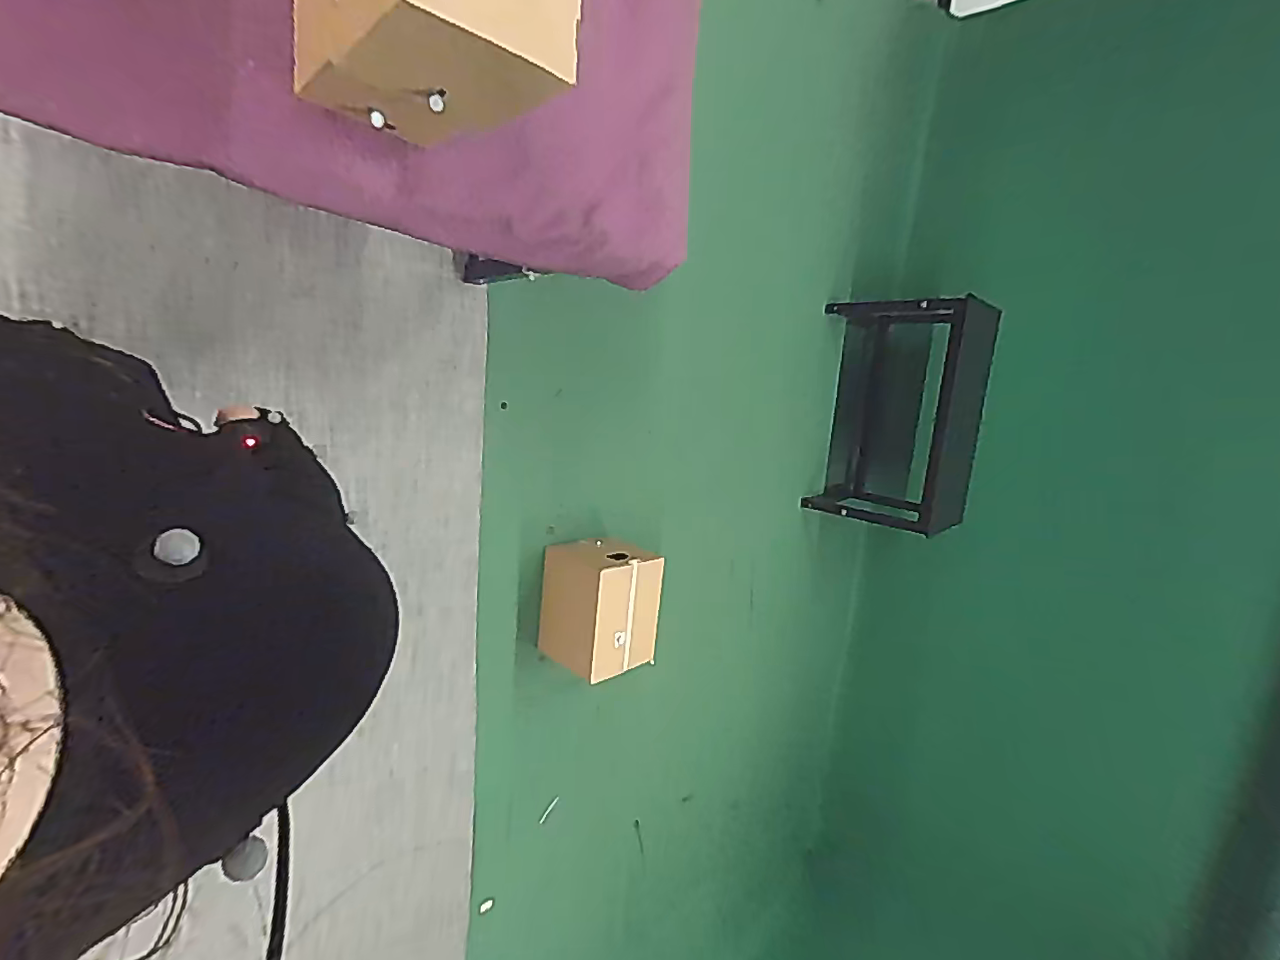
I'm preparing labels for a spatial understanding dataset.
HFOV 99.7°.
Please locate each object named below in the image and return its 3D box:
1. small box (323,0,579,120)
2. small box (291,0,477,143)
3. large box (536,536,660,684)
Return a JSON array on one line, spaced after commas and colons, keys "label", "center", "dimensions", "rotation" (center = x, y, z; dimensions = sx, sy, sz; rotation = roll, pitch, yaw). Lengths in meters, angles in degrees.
[{"label": "small box", "center": [-0.175, -0.469, 0.505], "dimensions": [0.179, 0.176, 0.168], "rotation": [-8, 106, -45]}, {"label": "small box", "center": [-0.284, -0.525, 0.617], "dimensions": [0.168, 0.176, 0.179], "rotation": [-4, 103, -46]}, {"label": "large box", "center": [-0.158, 0.451, 1.971], "dimensions": [0.320, 0.320, 0.408], "rotation": [-3, 103, -46]}]
